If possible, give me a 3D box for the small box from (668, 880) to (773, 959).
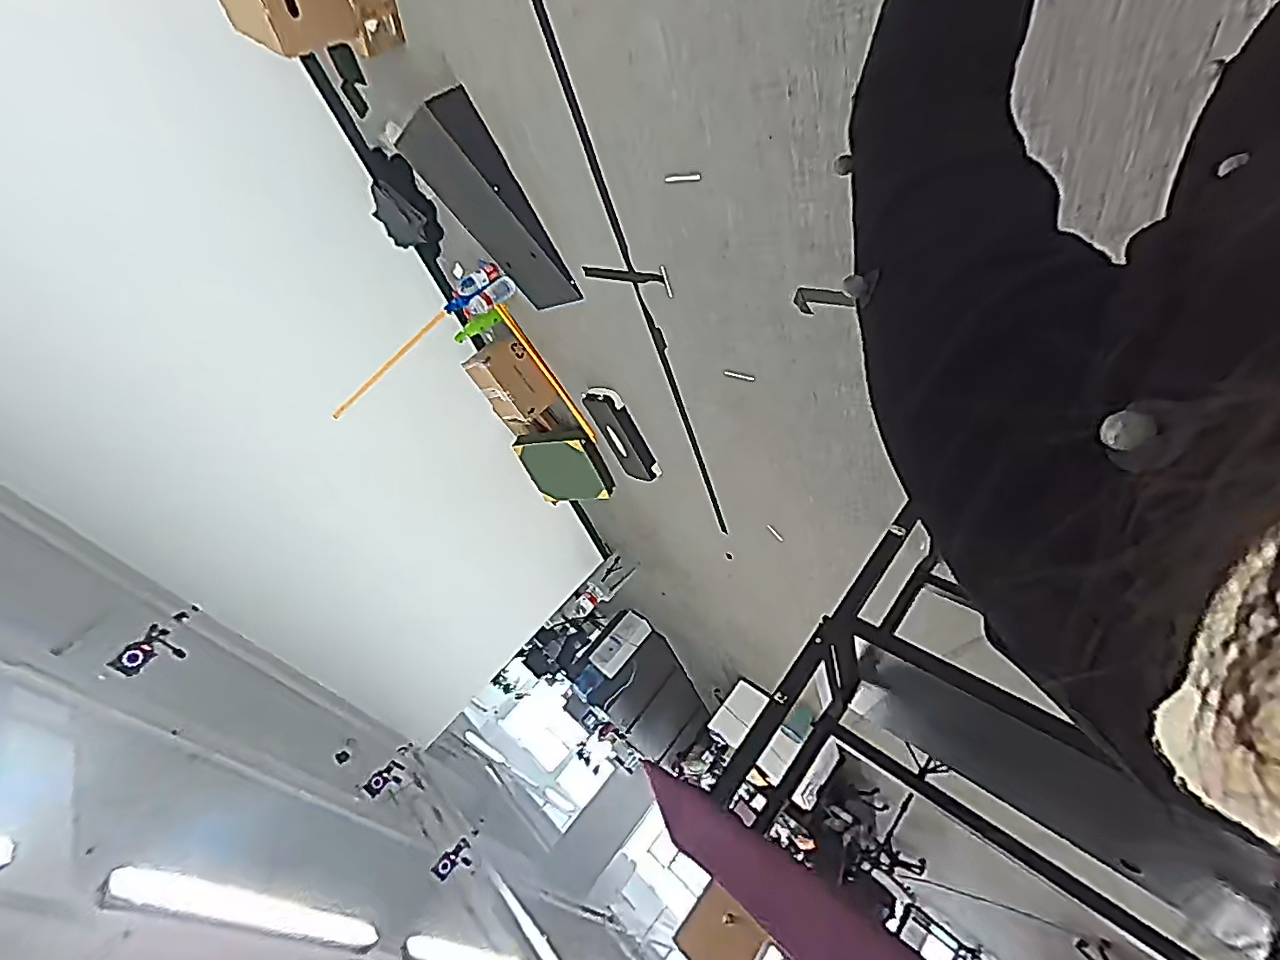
[{"bbox_3d":[0.202,1.124,1.329,0.179,0.176,0.168,26,152,38],"label":"small box"}]
